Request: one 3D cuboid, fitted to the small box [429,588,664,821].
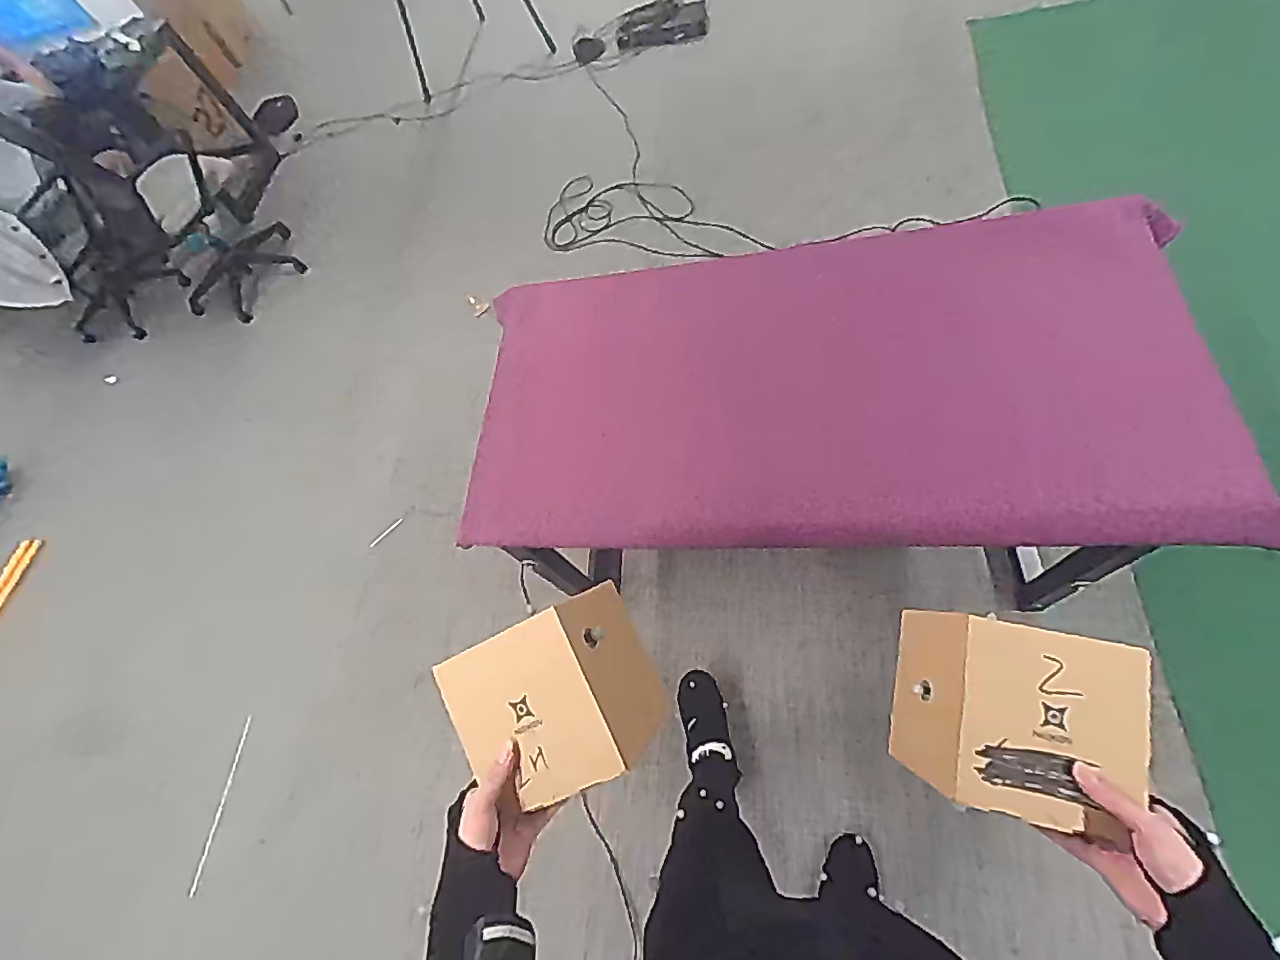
[{"bbox_3d":[-0.095,0.233,0.613,0.168,0.176,0.179,-28,81,15],"label":"small box"}]
